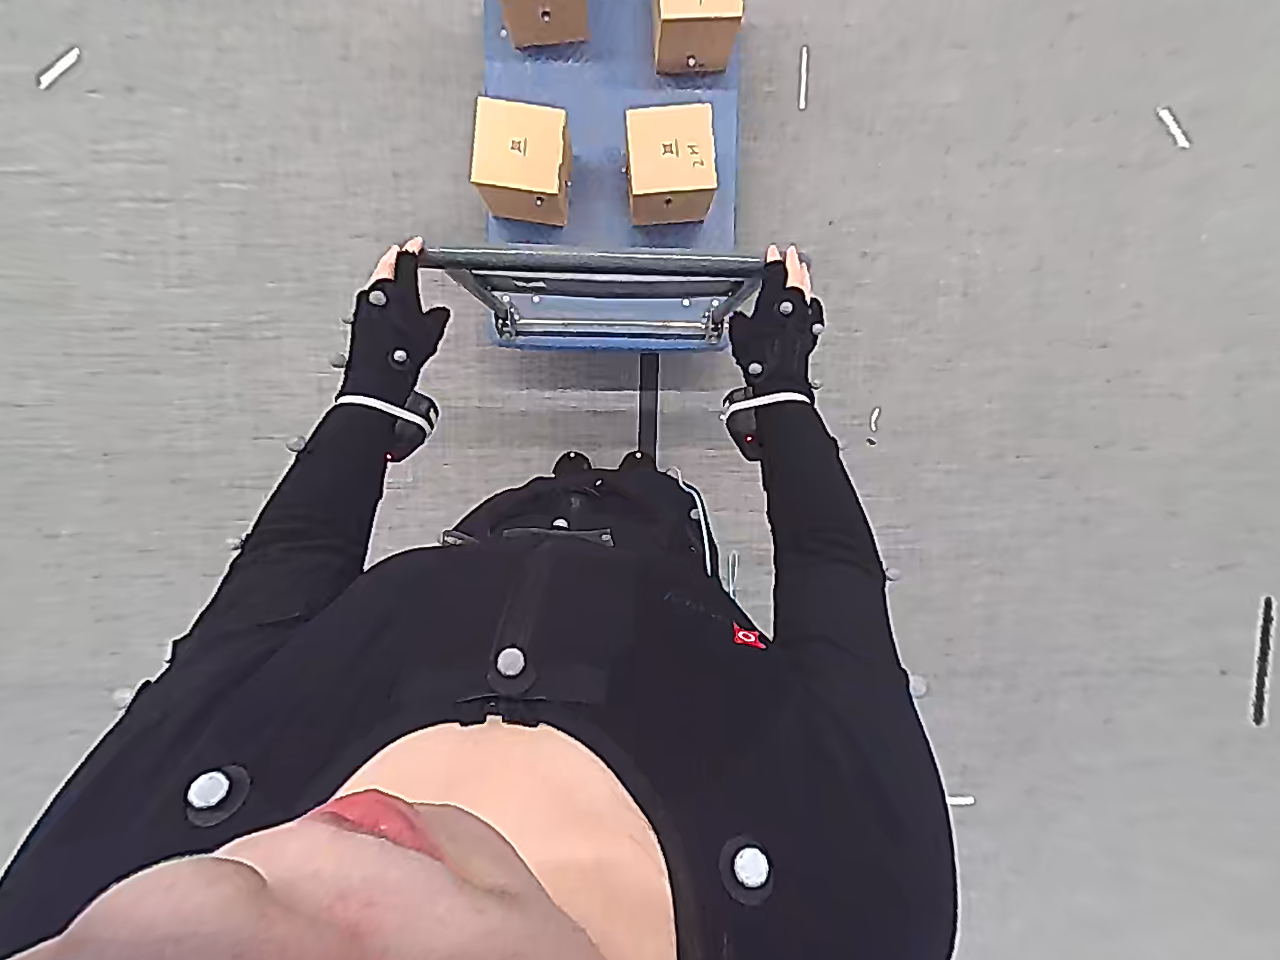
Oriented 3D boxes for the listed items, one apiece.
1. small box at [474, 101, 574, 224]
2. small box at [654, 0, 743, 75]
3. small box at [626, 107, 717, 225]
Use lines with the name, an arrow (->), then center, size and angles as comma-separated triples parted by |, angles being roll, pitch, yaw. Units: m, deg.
small box -> -0.242, -0.671, 1.162 | 0.179, 0.176, 0.168 | 6, 95, -4
small box -> 0.118, -1.003, 1.143 | 0.168, 0.176, 0.179 | -3, 97, -1
small box -> 0.064, -0.670, 1.172 | 0.179, 0.176, 0.168 | -5, 96, -1
